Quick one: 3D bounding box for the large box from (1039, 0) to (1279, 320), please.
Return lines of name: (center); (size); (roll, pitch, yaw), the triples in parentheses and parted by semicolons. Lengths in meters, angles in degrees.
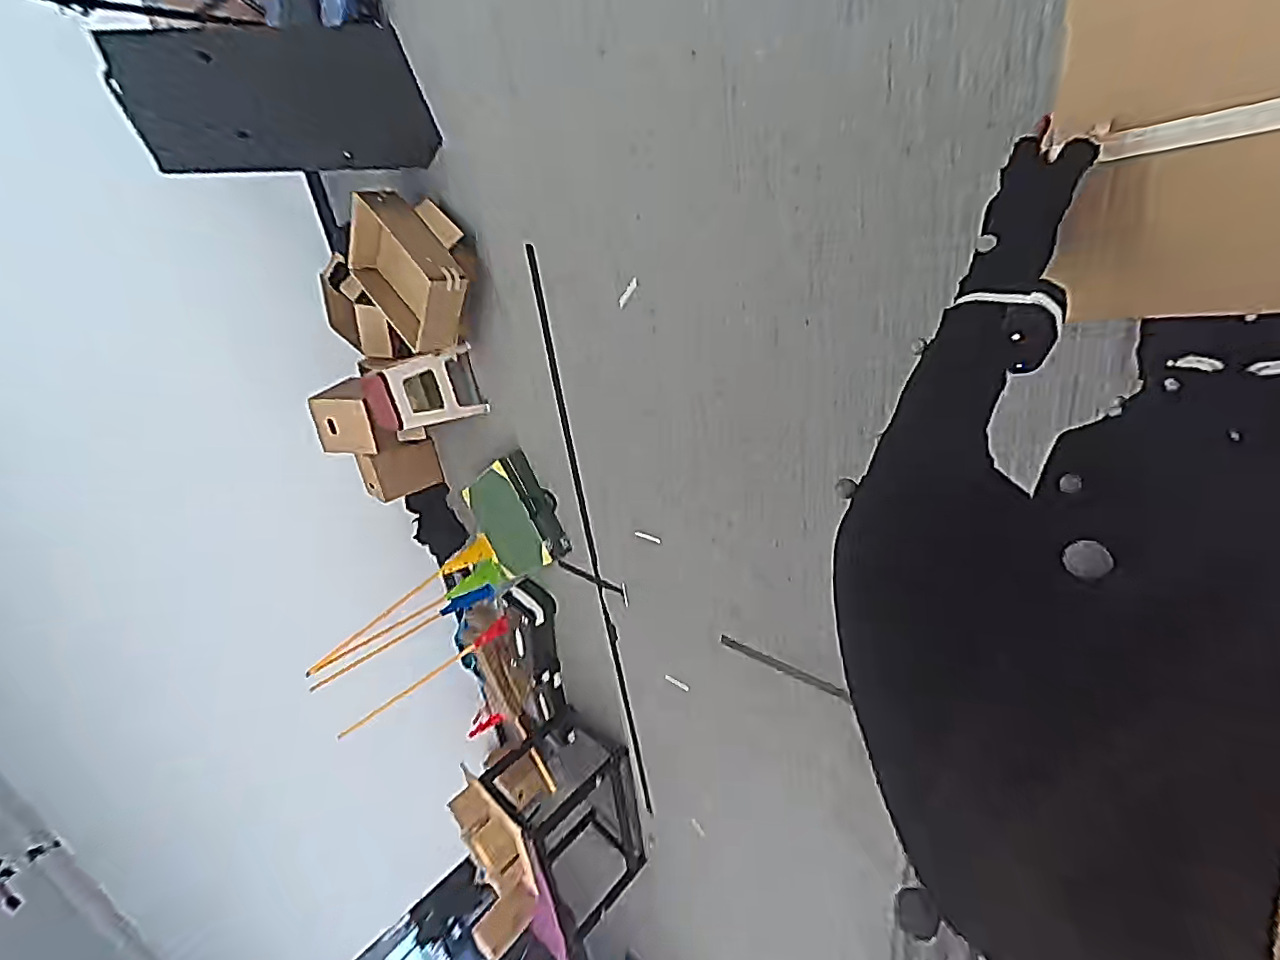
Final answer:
large box: (0.640, -0.343, 0.488); (0.408, 0.320, 0.320); (11, 122, 41)
